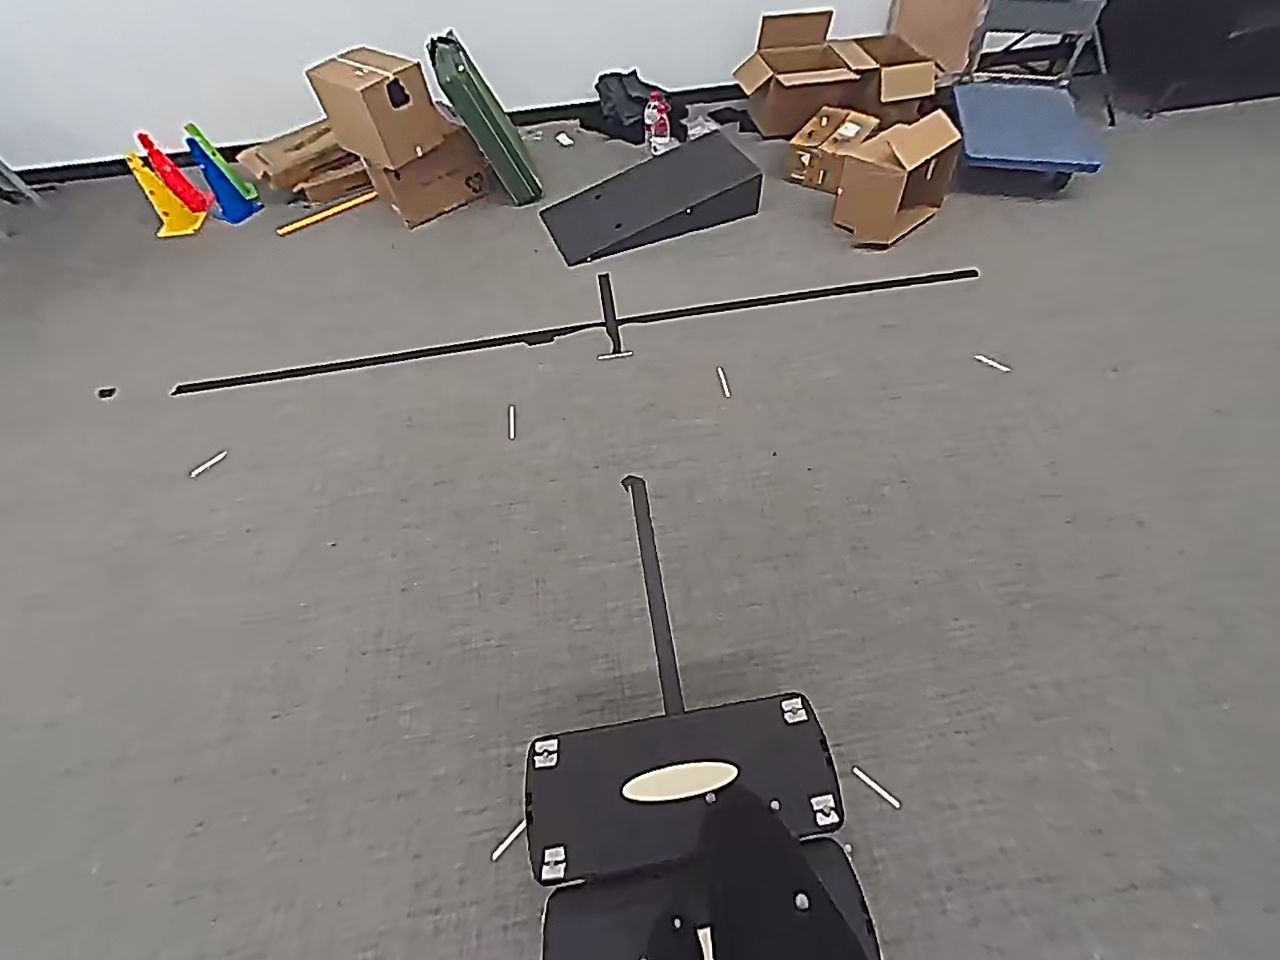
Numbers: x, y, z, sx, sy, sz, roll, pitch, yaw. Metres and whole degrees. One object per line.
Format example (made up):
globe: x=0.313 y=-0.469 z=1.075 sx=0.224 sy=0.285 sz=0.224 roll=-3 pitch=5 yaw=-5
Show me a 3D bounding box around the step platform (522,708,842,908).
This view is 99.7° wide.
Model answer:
step platform: x=0.085 y=0.720 z=1.211 sx=0.684 sy=0.204 sz=0.286 roll=-9 pitch=57 yaw=-4
